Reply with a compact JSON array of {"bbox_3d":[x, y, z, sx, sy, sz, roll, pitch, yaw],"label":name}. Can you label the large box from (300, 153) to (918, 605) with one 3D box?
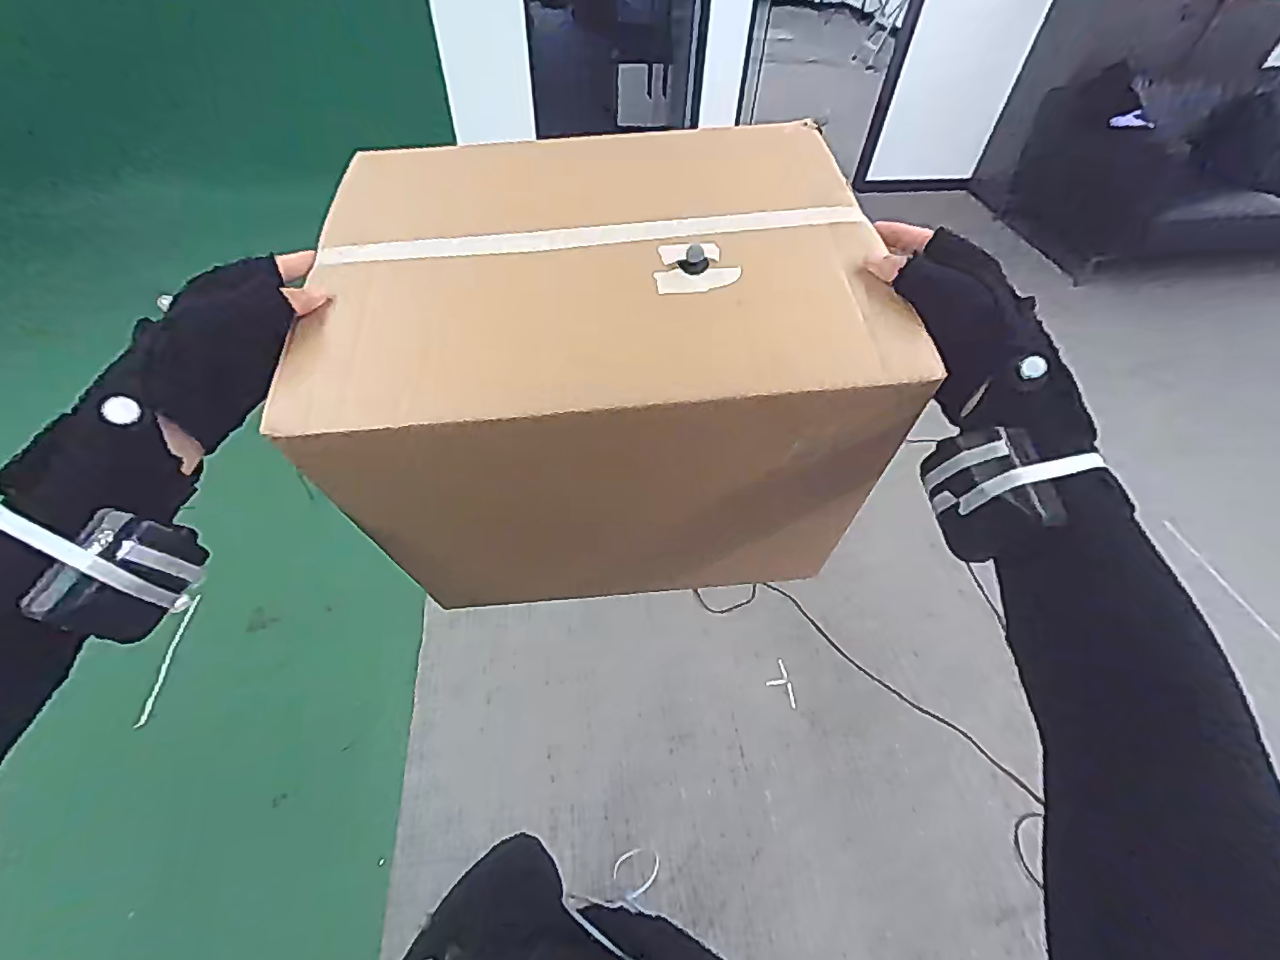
[{"bbox_3d":[-0.028,-0.088,0.546,0.408,0.320,0.320,-4,57,-2],"label":"large box"}]
